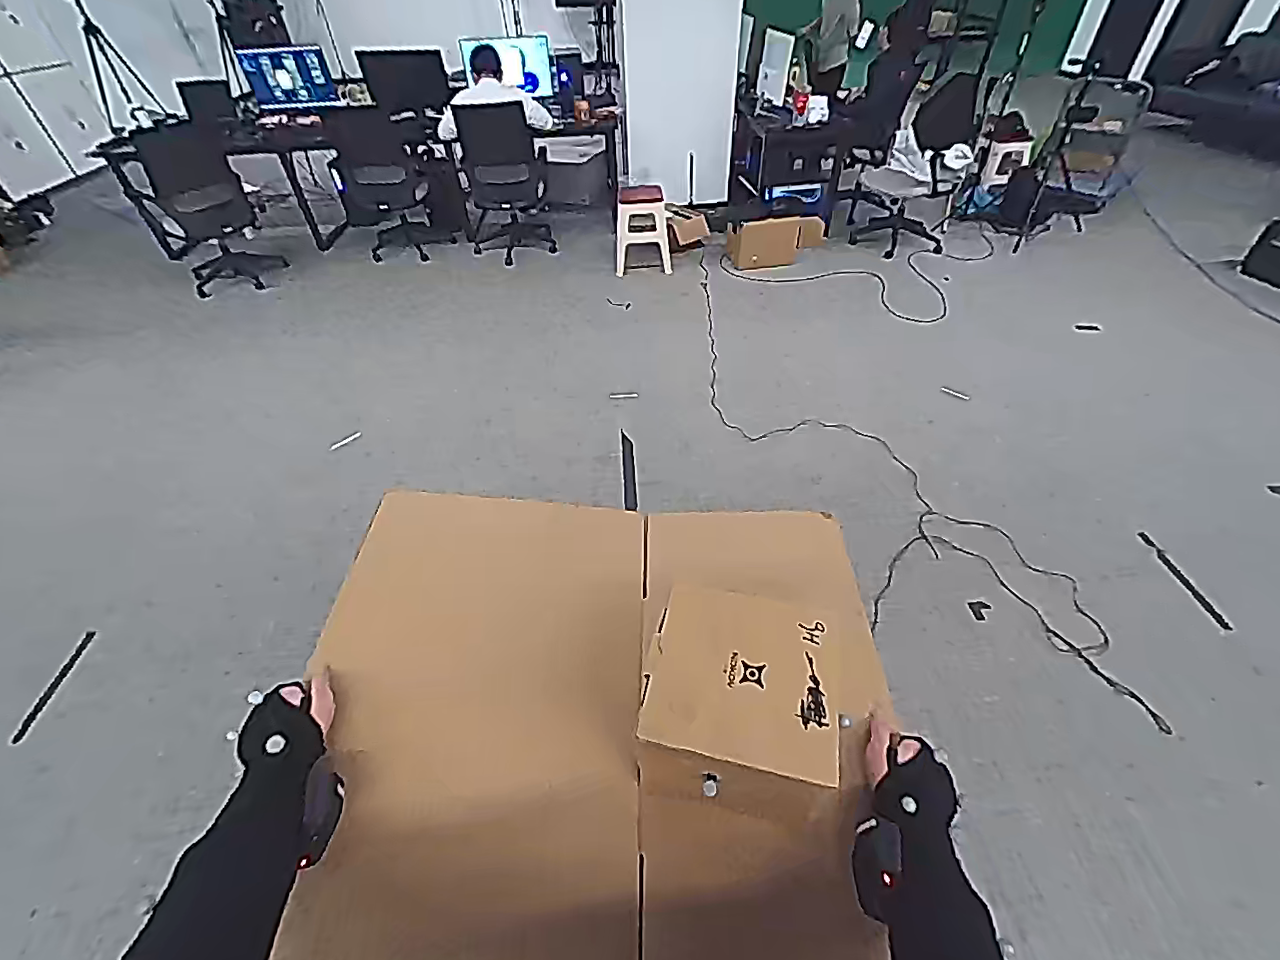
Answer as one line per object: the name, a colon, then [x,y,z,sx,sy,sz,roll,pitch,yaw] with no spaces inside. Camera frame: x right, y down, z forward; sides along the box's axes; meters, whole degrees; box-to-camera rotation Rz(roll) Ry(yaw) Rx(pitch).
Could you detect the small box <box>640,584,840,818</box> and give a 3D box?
small box: [0.109,0.237,0.579,0.179,0.176,0.168,7,48,13]
